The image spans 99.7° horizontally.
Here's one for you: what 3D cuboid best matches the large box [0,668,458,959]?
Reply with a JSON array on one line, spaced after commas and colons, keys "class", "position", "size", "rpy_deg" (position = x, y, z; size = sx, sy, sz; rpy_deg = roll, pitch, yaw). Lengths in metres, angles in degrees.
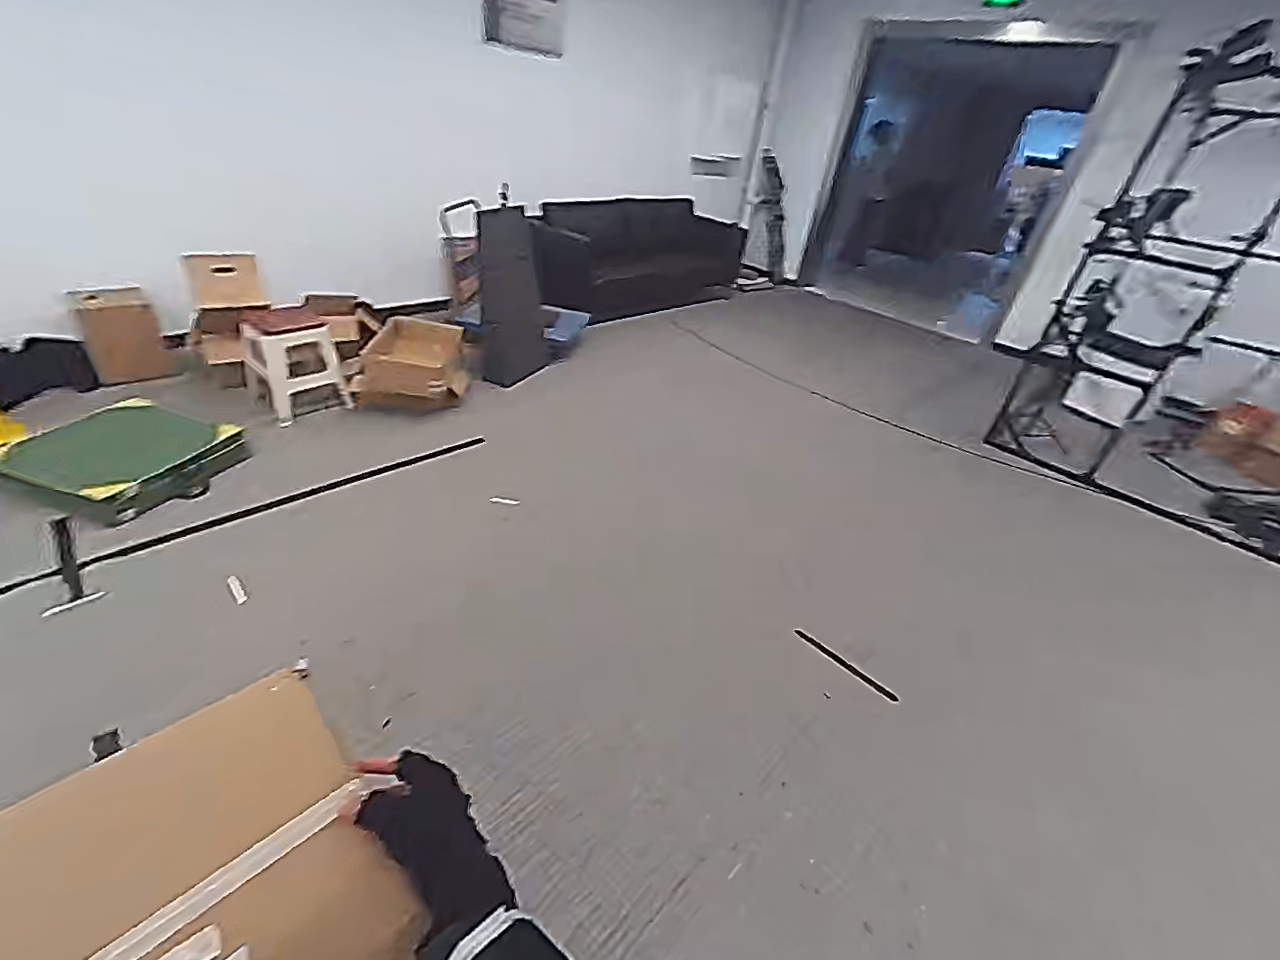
[{"class": "large box", "position": [-0.410, 0.457, 0.454], "size": [0.320, 0.320, 0.408], "rpy_deg": [39, 44, 27]}]
